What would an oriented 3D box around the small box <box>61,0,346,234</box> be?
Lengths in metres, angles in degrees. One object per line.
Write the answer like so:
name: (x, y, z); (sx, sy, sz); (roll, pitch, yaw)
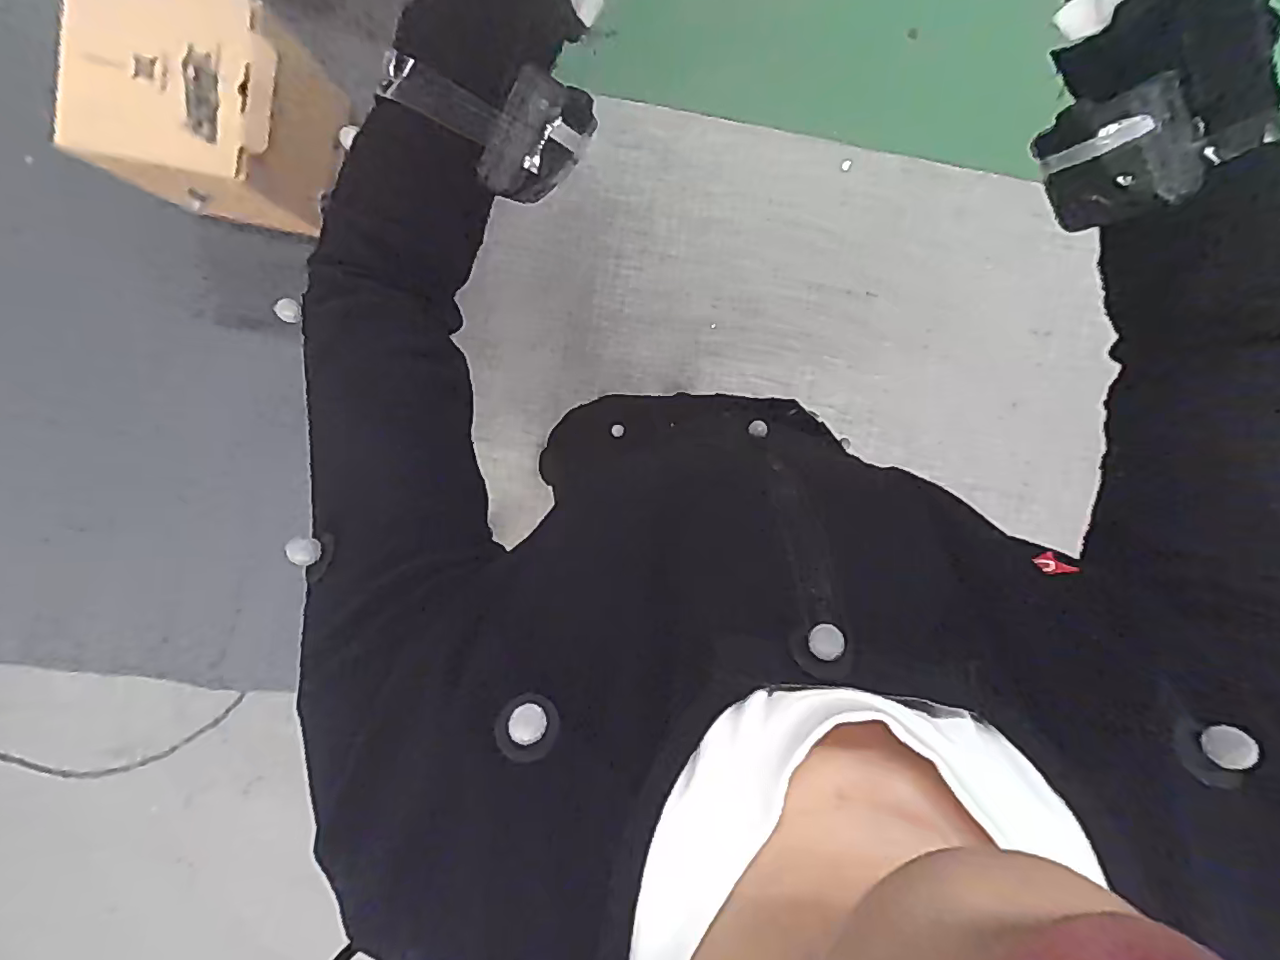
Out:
small box: (-0.450, -0.386, 0.585); (0.179, 0.176, 0.168); (10, 96, -1)
